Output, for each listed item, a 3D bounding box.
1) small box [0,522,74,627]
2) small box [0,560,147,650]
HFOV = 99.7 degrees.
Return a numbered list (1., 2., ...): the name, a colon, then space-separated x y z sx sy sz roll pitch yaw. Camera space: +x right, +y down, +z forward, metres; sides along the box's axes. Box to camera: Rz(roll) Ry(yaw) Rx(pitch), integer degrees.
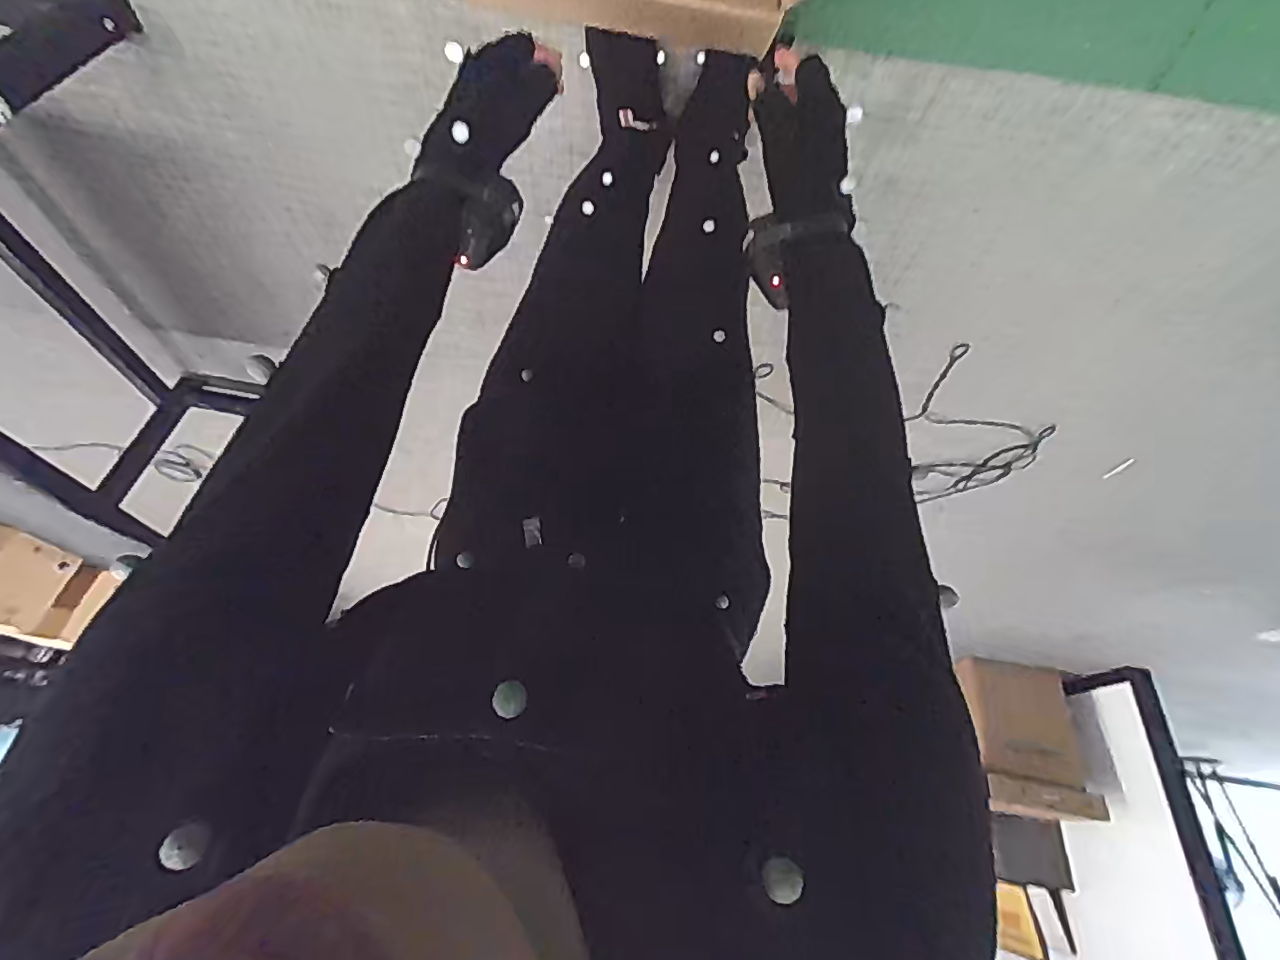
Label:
1. small box: -1.311 0.180 1.082 0.179 0.176 0.168 10 150 0
2. small box: -1.330 0.289 1.276 0.179 0.176 0.168 10 150 1
